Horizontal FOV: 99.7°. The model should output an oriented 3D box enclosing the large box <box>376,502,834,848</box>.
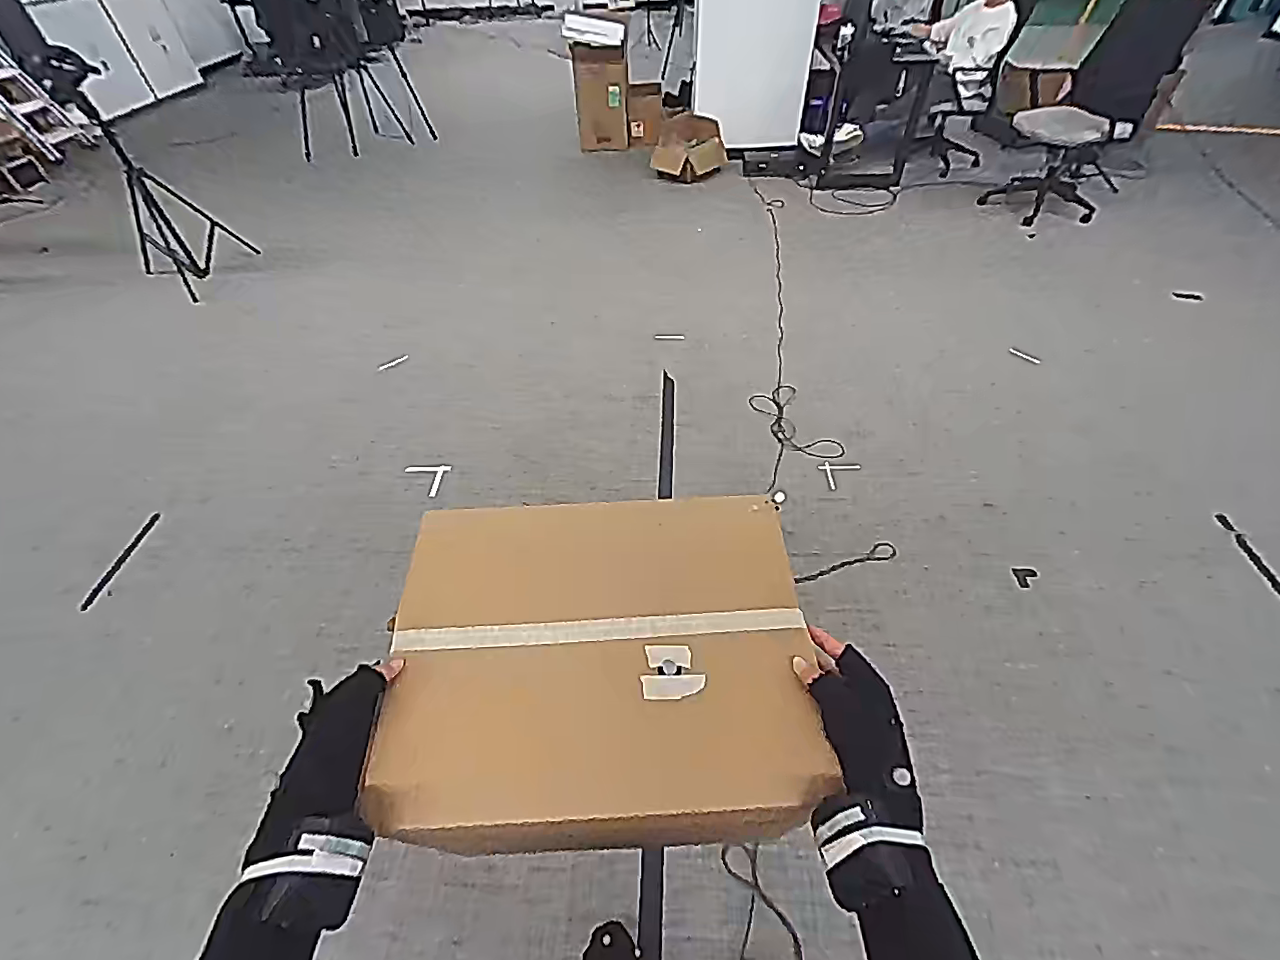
[{"bbox_3d":[-0.036,0.247,0.669,0.408,0.320,0.320,-2,53,-1],"label":"large box"}]
